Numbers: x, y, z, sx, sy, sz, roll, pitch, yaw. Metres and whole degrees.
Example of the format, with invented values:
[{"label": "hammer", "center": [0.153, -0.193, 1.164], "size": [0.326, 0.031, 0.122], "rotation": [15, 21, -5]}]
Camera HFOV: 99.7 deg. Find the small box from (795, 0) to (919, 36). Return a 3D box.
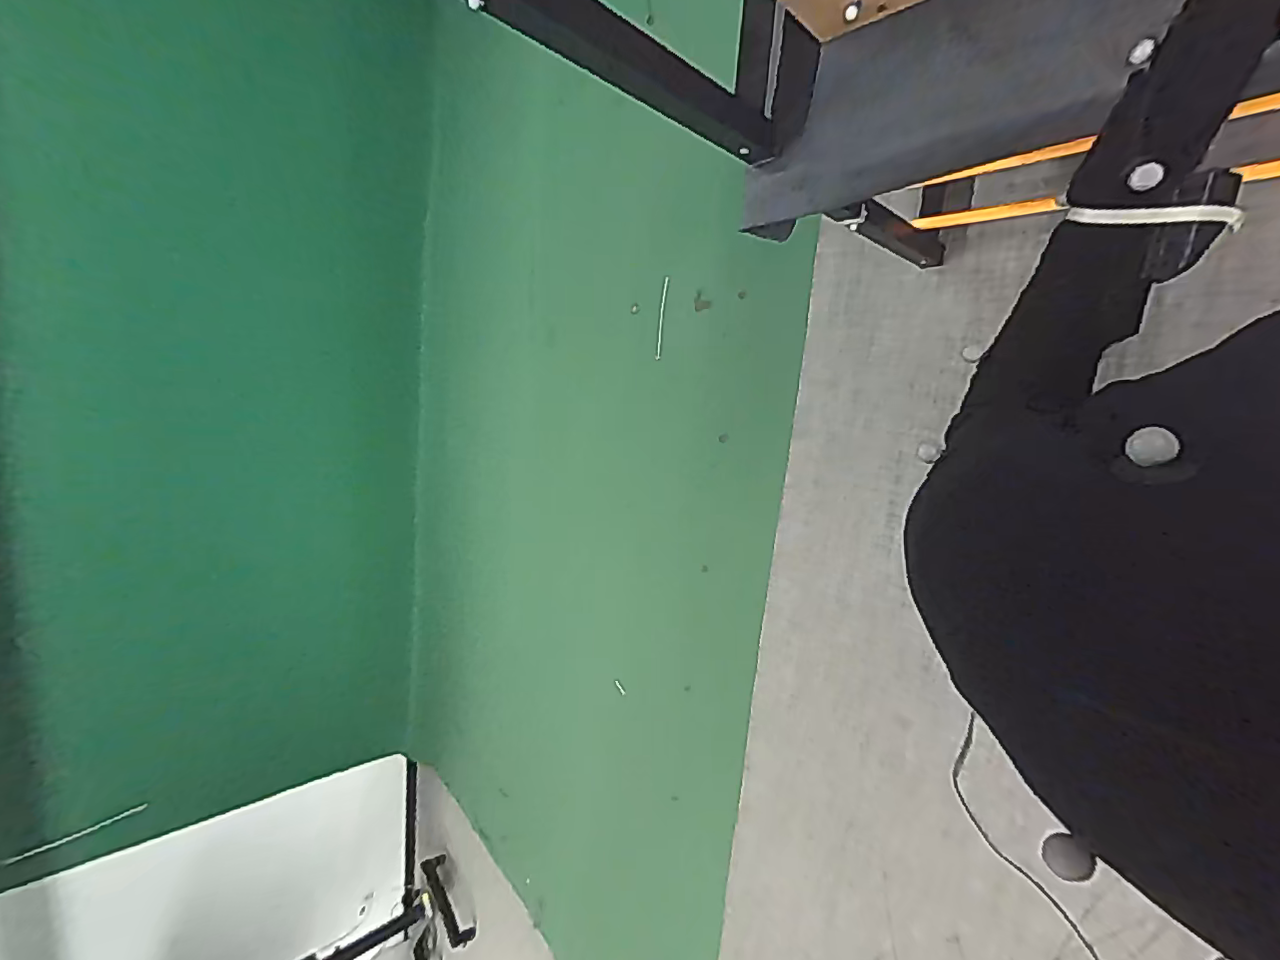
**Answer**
[{"label": "small box", "center": [0.287, -0.747, 0.711], "size": [0.168, 0.176, 0.179], "rotation": [16, 105, 46]}]
